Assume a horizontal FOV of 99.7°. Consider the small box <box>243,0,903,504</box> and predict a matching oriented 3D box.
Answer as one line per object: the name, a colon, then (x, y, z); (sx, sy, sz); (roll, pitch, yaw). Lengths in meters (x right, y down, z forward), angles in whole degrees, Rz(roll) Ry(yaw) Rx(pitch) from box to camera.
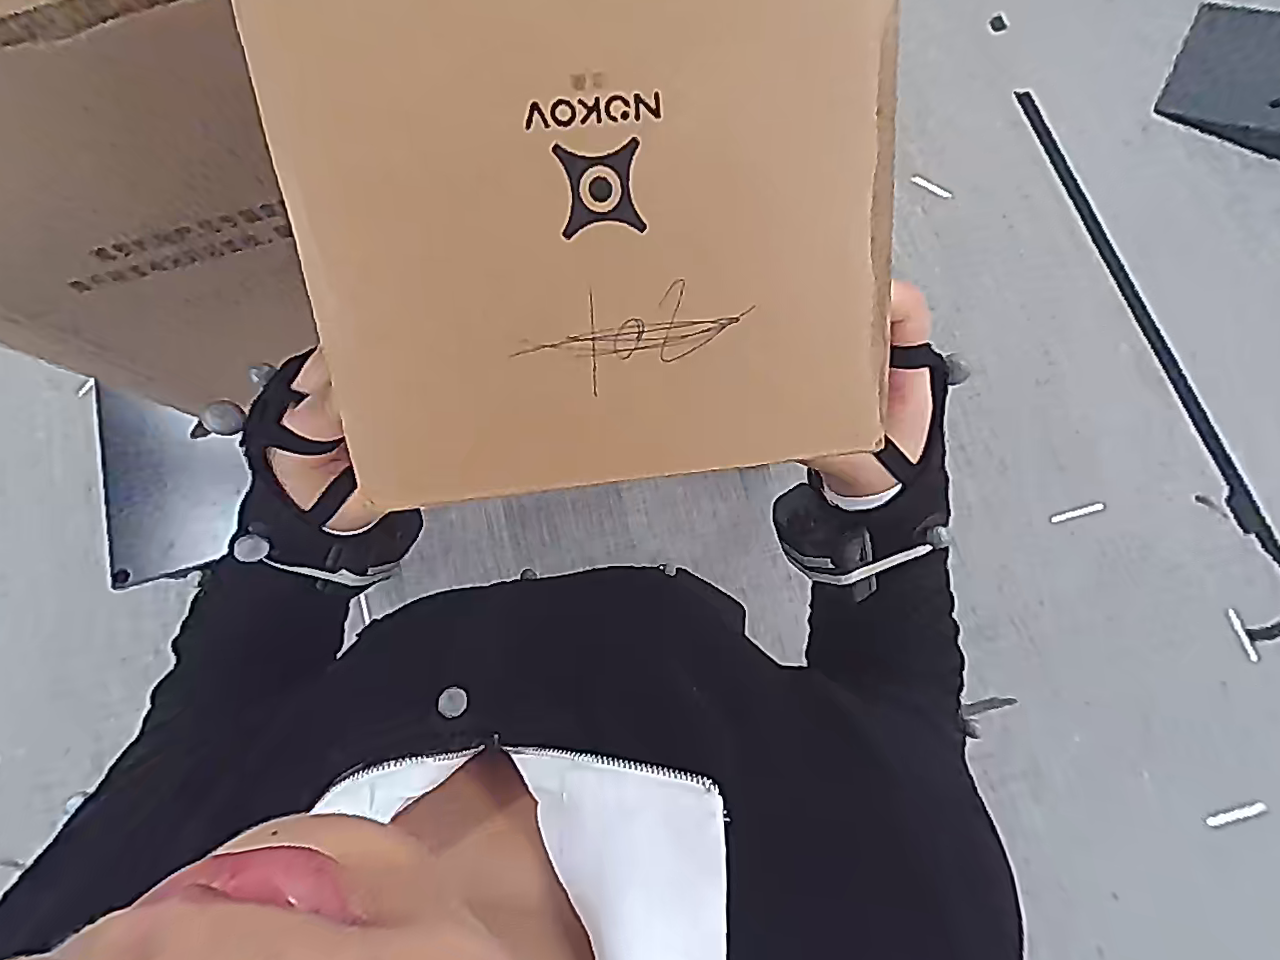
small box: (-0.017, -0.105, 0.222); (0.168, 0.176, 0.179); (-7, 107, -3)
